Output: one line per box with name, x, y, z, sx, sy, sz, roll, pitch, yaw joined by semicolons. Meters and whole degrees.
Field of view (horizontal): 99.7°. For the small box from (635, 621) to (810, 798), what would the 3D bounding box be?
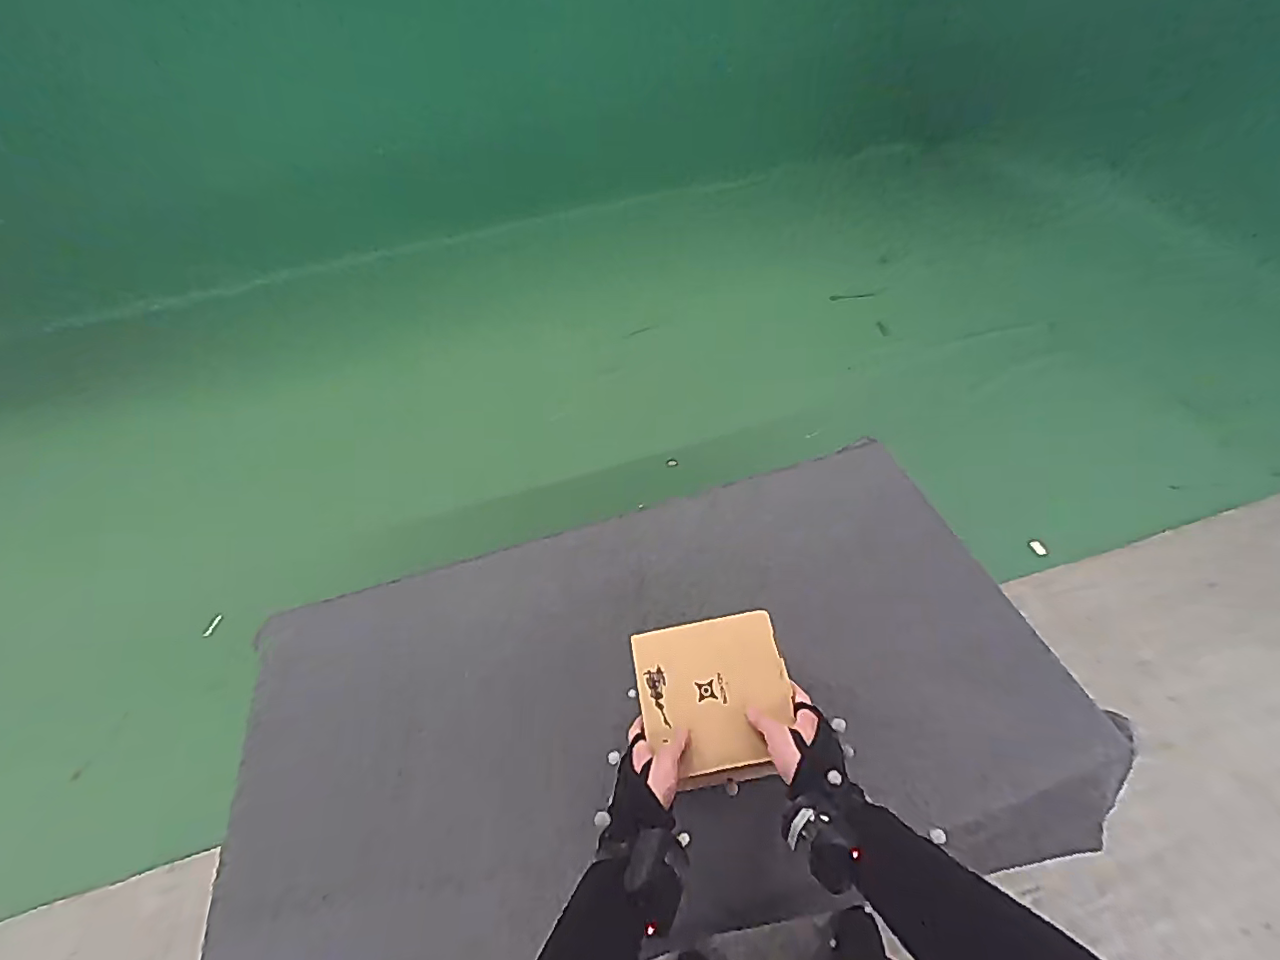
small box;0.096;0.298;0.692;0.179;0.176;0.168;-10;55;0
